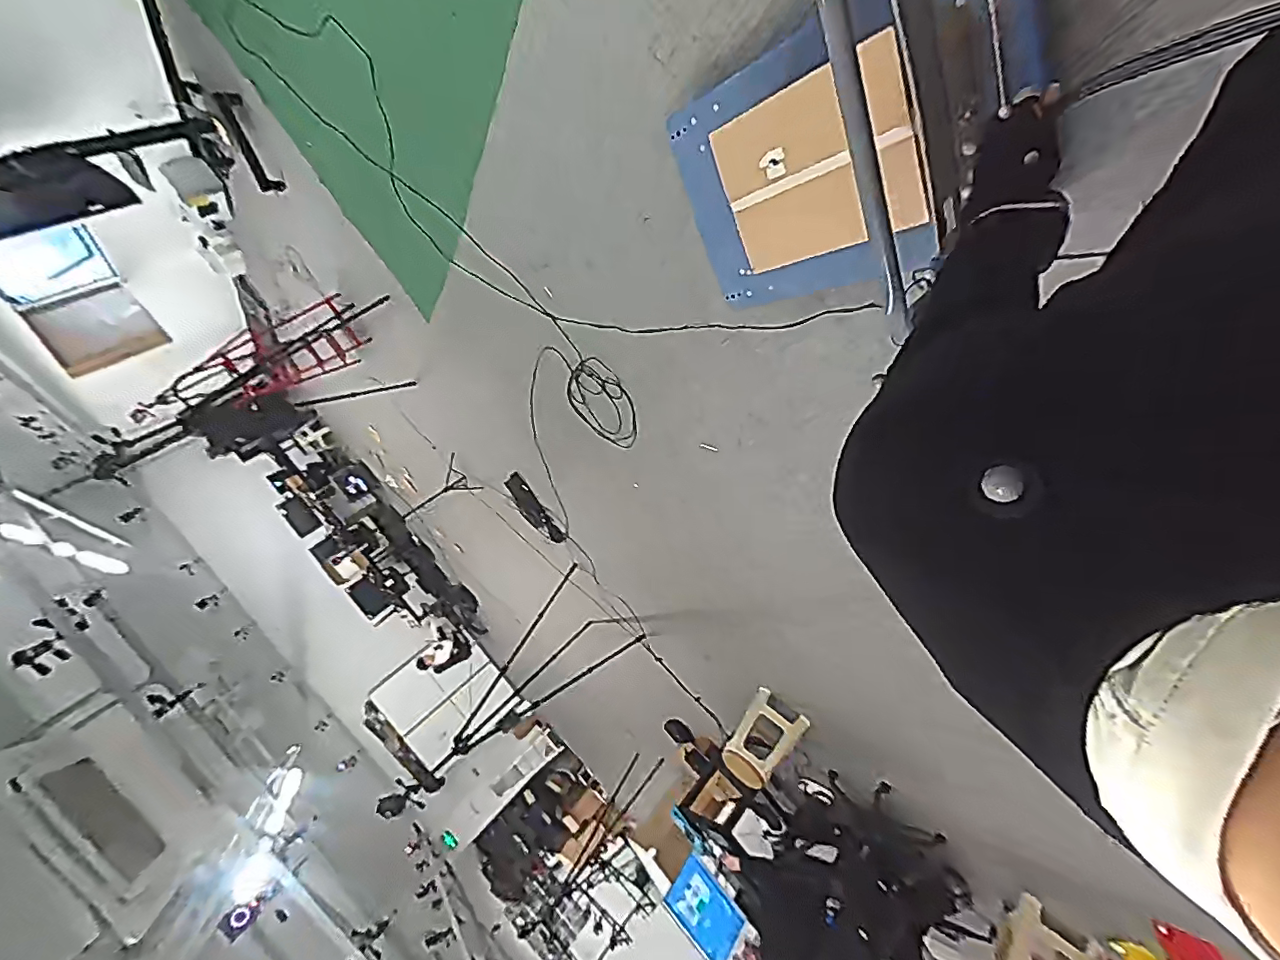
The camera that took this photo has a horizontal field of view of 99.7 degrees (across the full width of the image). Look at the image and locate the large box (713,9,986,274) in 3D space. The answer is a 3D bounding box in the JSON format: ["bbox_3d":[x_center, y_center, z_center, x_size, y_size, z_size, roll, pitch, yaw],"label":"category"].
[{"bbox_3d":[0.441,-0.689,1.147,0.408,0.320,0.320,5,127,50],"label":"large box"}]
